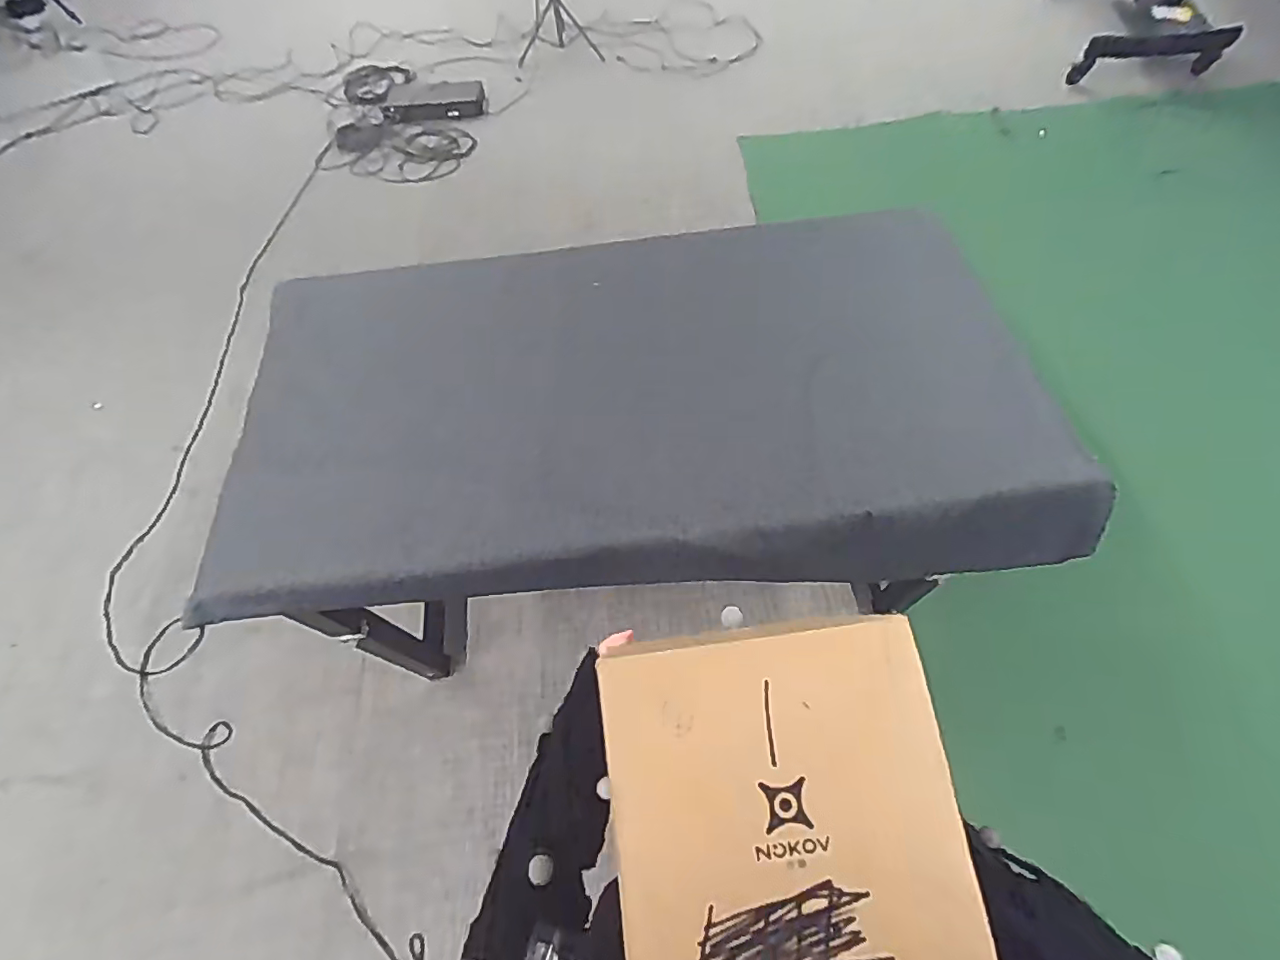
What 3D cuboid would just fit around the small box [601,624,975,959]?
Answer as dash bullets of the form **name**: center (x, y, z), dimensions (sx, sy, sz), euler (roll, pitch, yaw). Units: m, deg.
- **small box**: center (0.071, 0.190, 0.345), dimensions (0.168, 0.176, 0.179), euler (-7, 75, 0)
